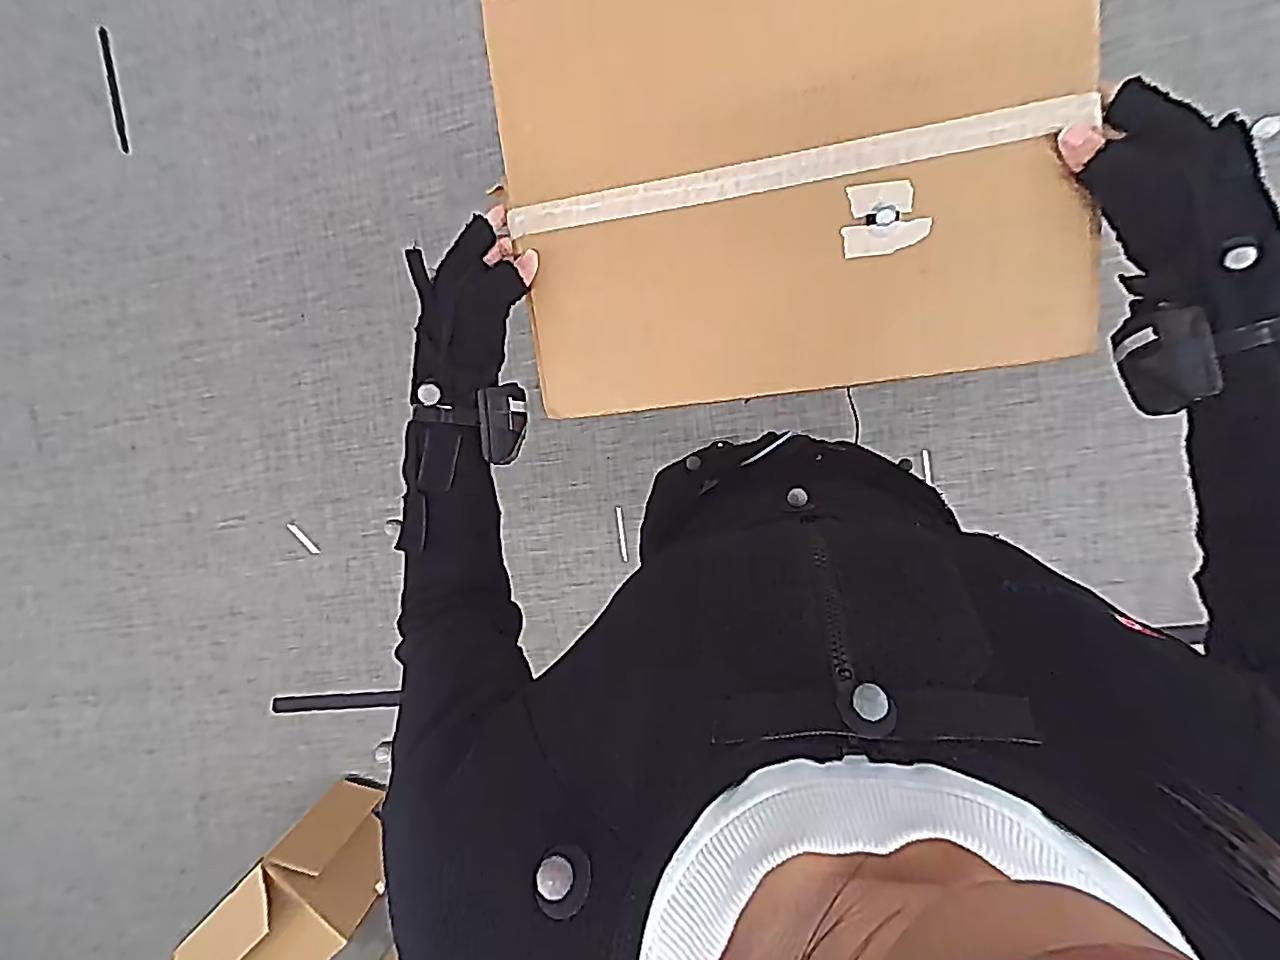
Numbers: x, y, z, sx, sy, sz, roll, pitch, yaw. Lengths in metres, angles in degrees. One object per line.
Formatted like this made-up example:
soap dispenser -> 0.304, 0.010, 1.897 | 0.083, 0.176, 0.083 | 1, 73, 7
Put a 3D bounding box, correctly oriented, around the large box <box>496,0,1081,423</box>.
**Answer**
large box -> 0.124, -0.246, 0.547 | 0.408, 0.320, 0.320 | -7, 99, 9
